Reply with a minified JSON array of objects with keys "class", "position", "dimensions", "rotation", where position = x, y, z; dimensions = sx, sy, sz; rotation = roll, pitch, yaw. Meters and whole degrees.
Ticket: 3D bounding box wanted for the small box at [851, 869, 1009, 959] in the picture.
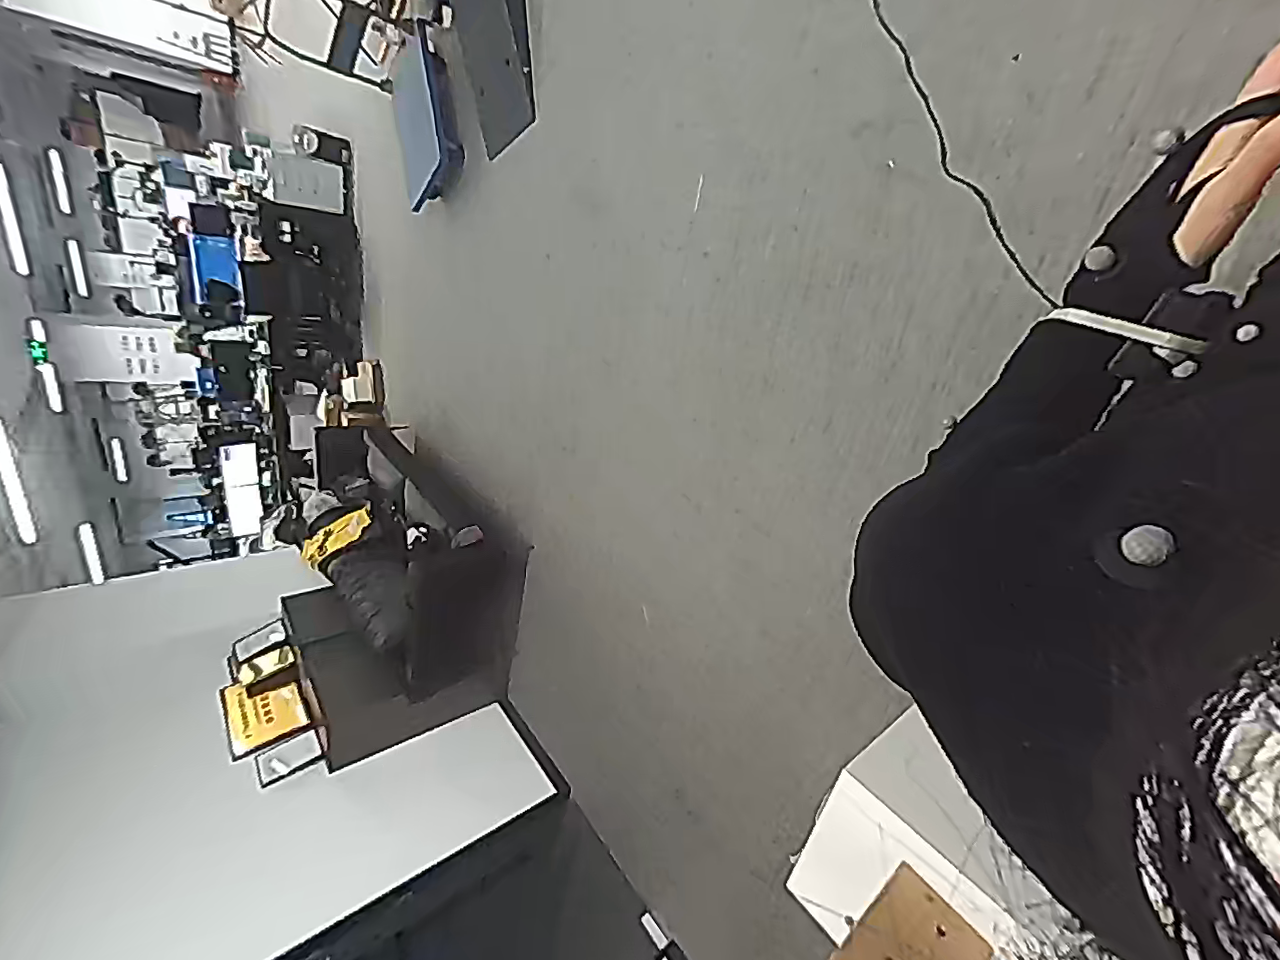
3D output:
[{"class":"small box","position":[0.492,0.831,0.928],"dimensions":[0.168,0.176,0.179],"rotation":[36,124,41]}]
